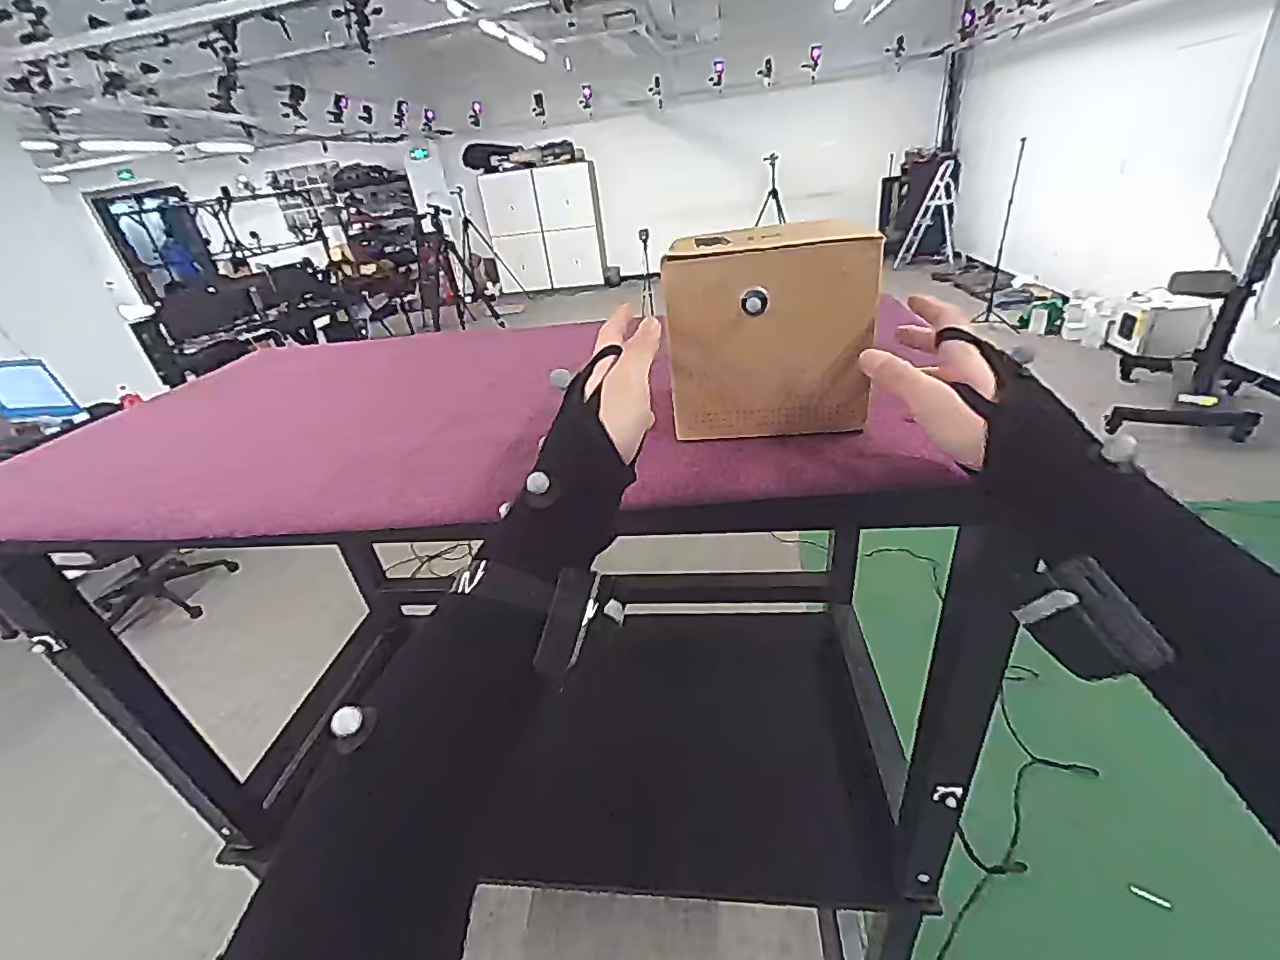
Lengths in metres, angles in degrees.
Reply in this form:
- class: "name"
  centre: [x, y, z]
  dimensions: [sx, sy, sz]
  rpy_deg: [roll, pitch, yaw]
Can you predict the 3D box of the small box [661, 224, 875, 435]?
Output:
- class: "small box"
  centre: [0.123, -0.152, 0.547]
  dimensions: [0.179, 0.176, 0.168]
  rpy_deg: [-2, 30, 9]
